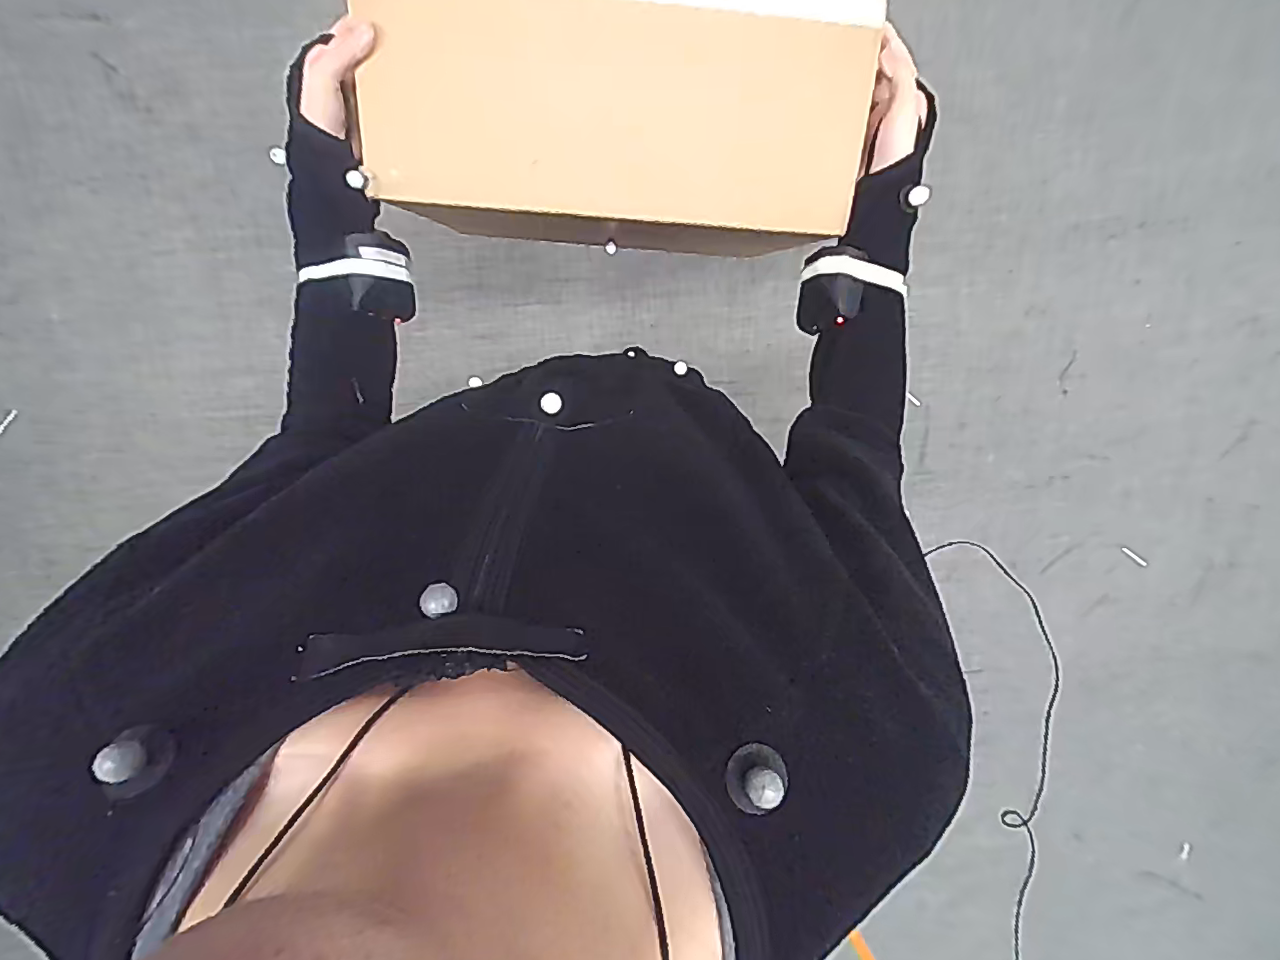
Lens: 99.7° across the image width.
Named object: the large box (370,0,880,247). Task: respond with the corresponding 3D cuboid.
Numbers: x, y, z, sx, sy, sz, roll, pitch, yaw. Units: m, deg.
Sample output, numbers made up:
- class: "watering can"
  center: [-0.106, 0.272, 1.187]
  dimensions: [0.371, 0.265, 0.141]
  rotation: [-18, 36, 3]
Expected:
- class: "large box"
  center: [-0.014, -0.424, 0.560]
  dimensions: [0.408, 0.320, 0.320]
  rotation: [2, 109, -4]
